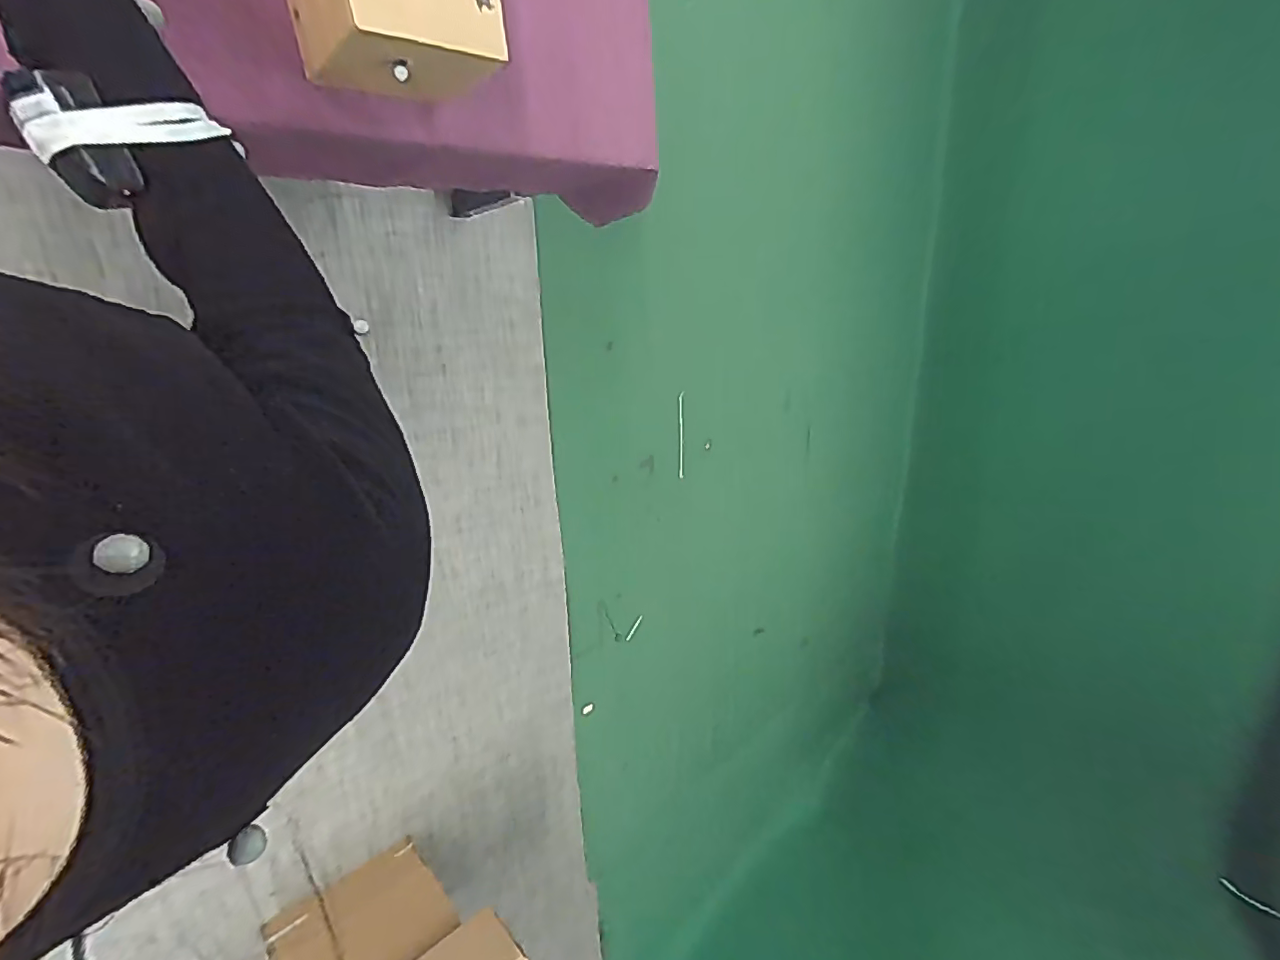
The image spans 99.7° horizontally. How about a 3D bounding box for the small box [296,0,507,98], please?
[{"bbox_3d":[-0.276,-0.551,0.599,0.179,0.176,0.168,-22,116,-38],"label":"small box"}]
